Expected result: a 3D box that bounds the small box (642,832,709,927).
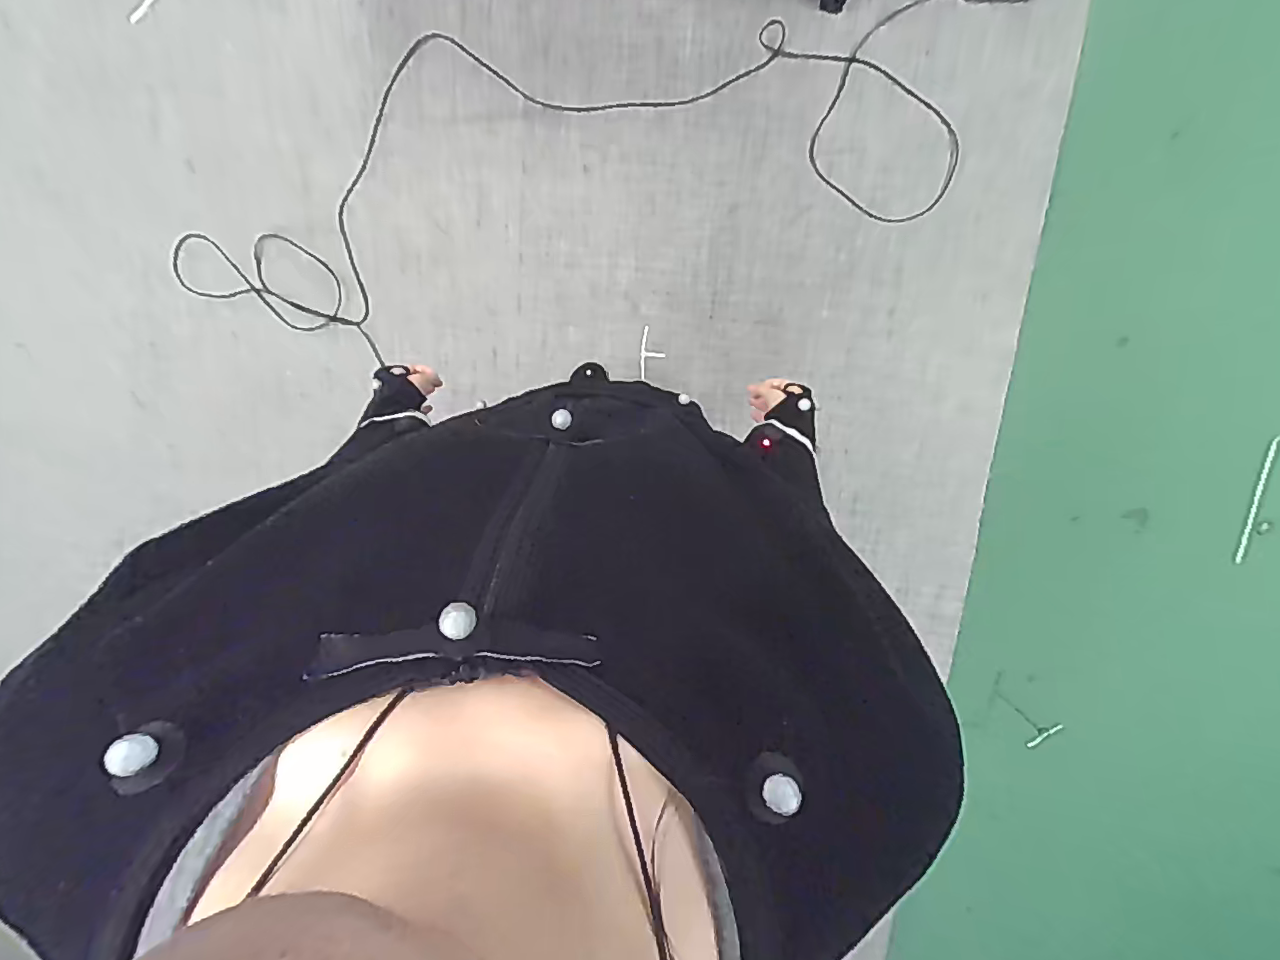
[{"bbox_3d":[0.098,1.190,1.619,0.179,0.176,0.168,2,101,-5],"label":"small box"}]
